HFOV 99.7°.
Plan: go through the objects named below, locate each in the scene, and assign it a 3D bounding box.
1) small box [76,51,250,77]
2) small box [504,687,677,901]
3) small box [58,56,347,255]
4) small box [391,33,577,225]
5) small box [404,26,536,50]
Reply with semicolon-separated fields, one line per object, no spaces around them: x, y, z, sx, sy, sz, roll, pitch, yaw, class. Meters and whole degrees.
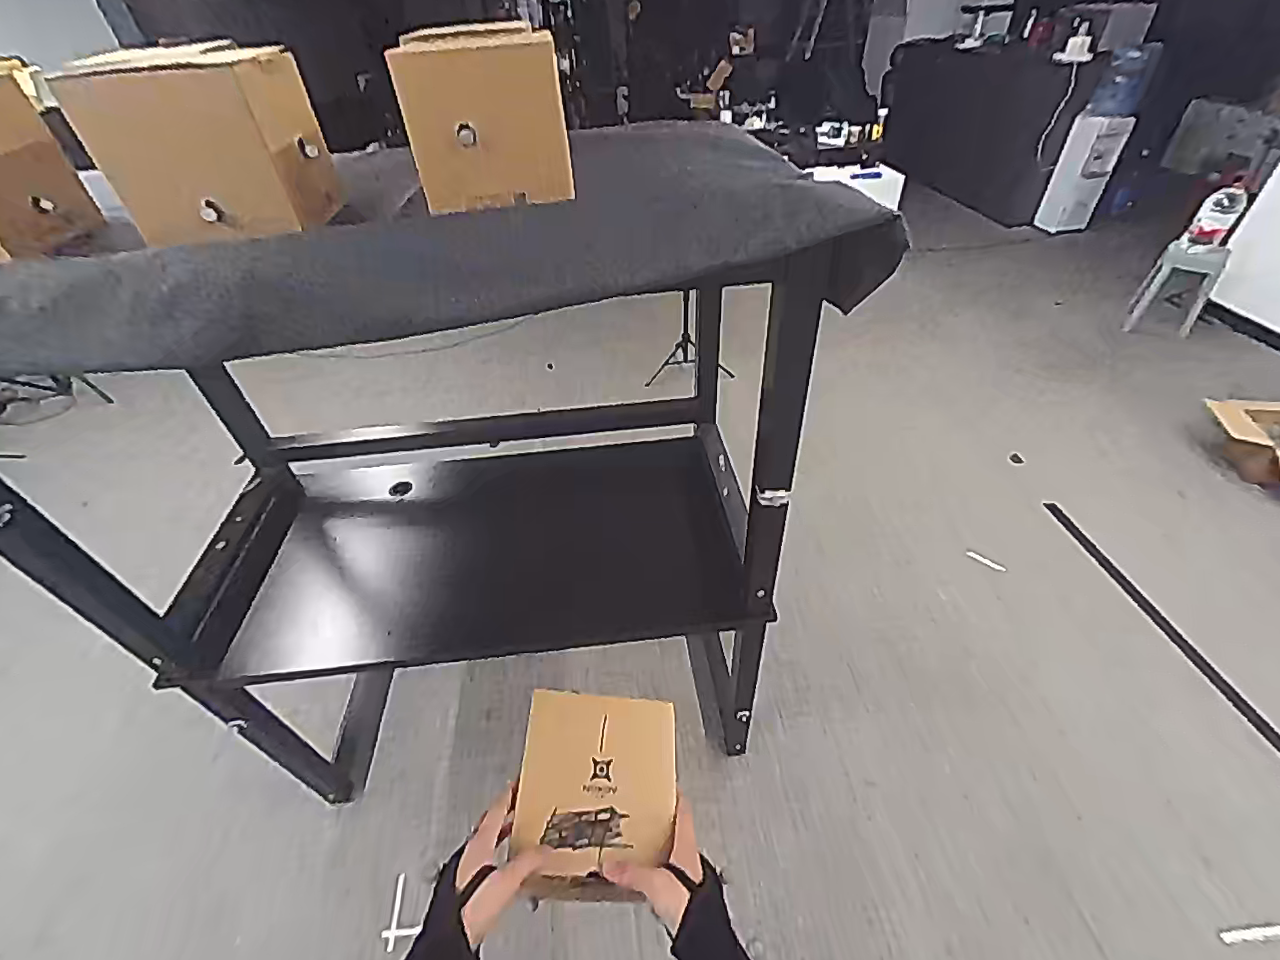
-0.669;-0.540;0.827;0.168;0.176;0.179;-11;43;-6;small box
-0.055;0.363;0.621;0.168;0.176;0.179;9;45;-7;small box
-0.477;-0.379;0.633;0.179;0.176;0.168;-6;41;-3;small box
-0.170;-0.417;0.649;0.168;0.176;0.179;-8;41;-3;small box
-0.242;-0.602;0.858;0.179;0.176;0.168;-6;43;-2;small box
